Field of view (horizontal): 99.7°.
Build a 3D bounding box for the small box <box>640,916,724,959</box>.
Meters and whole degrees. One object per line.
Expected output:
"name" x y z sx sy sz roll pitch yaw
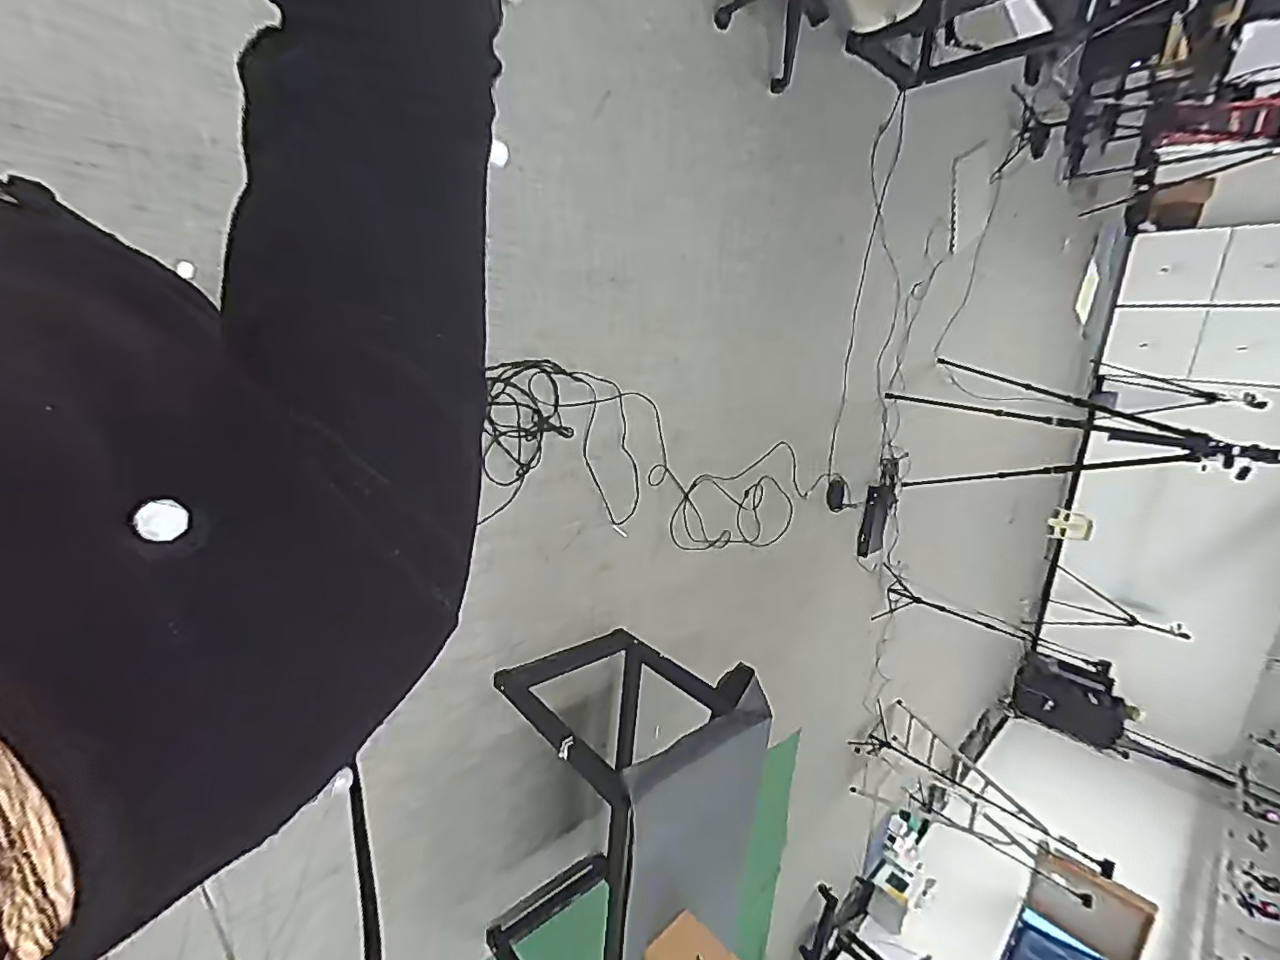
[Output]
"small box" 0.110 1.389 1.509 0.179 0.176 0.168 -12 110 -42
